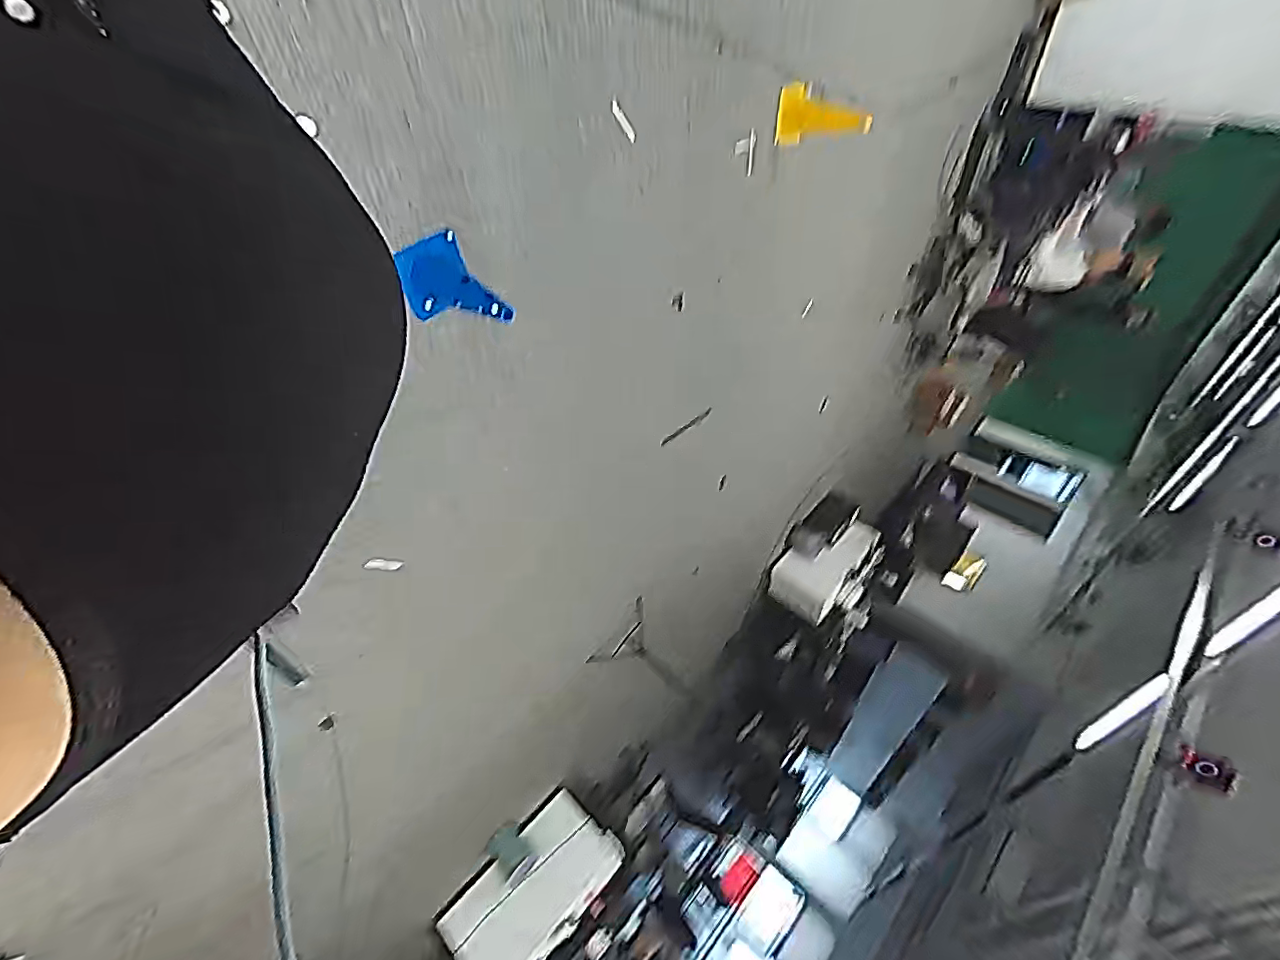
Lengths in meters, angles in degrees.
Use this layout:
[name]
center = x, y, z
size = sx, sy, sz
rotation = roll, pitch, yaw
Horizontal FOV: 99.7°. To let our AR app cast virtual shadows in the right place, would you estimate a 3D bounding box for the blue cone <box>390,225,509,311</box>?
[blue cone]
center = -0.460, -0.505, 1.410
size = 0.193, 0.380, 0.192
rotation = -41, 144, -25
